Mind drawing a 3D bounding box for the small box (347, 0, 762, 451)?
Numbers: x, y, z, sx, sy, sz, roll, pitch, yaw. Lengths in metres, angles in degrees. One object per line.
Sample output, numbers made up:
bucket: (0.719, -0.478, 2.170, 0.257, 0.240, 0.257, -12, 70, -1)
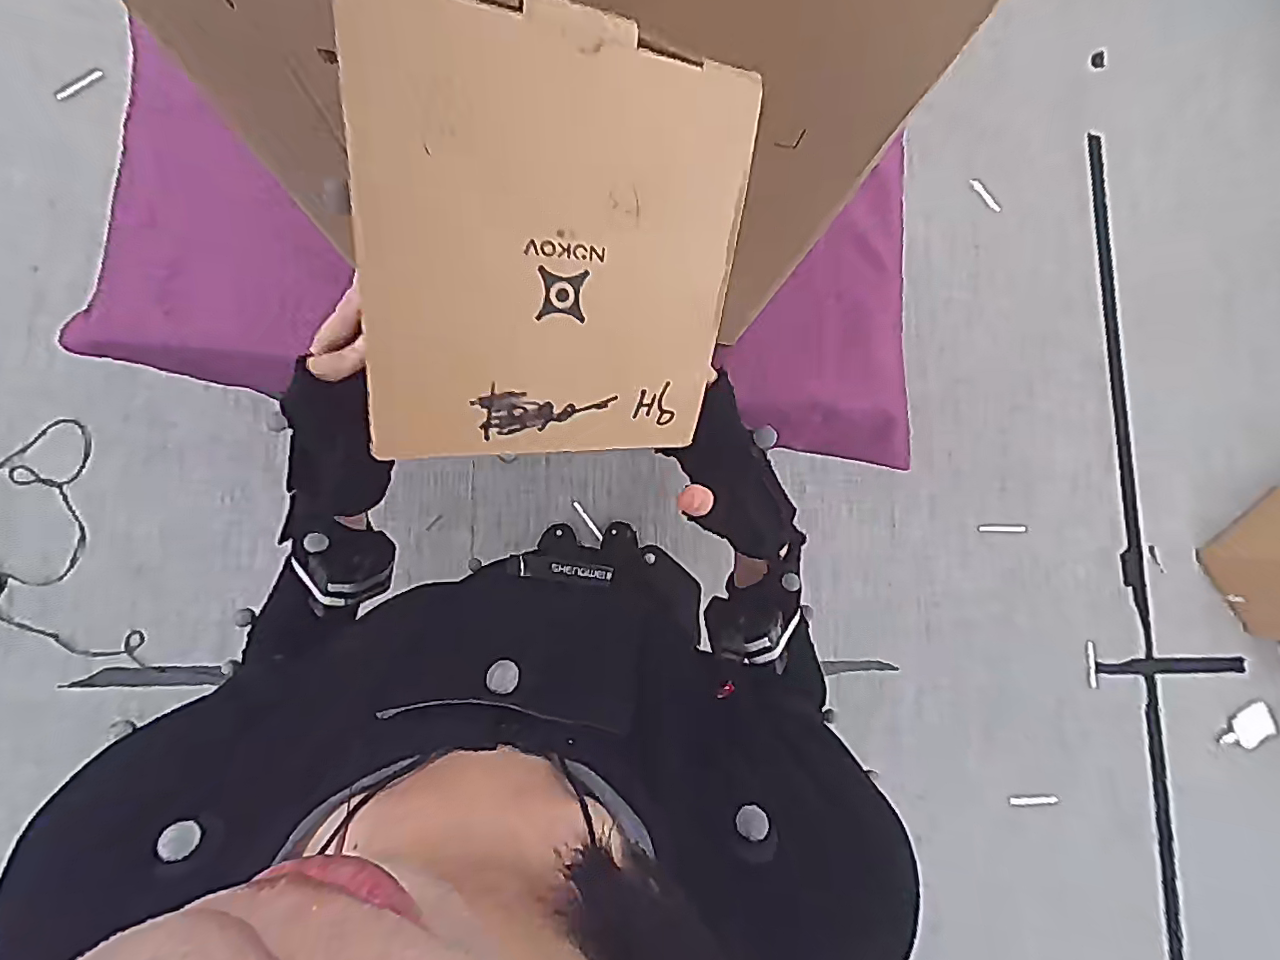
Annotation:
small box: (-0.063, -0.130, 0.299, 0.168, 0.176, 0.179, -4, 119, -24)
